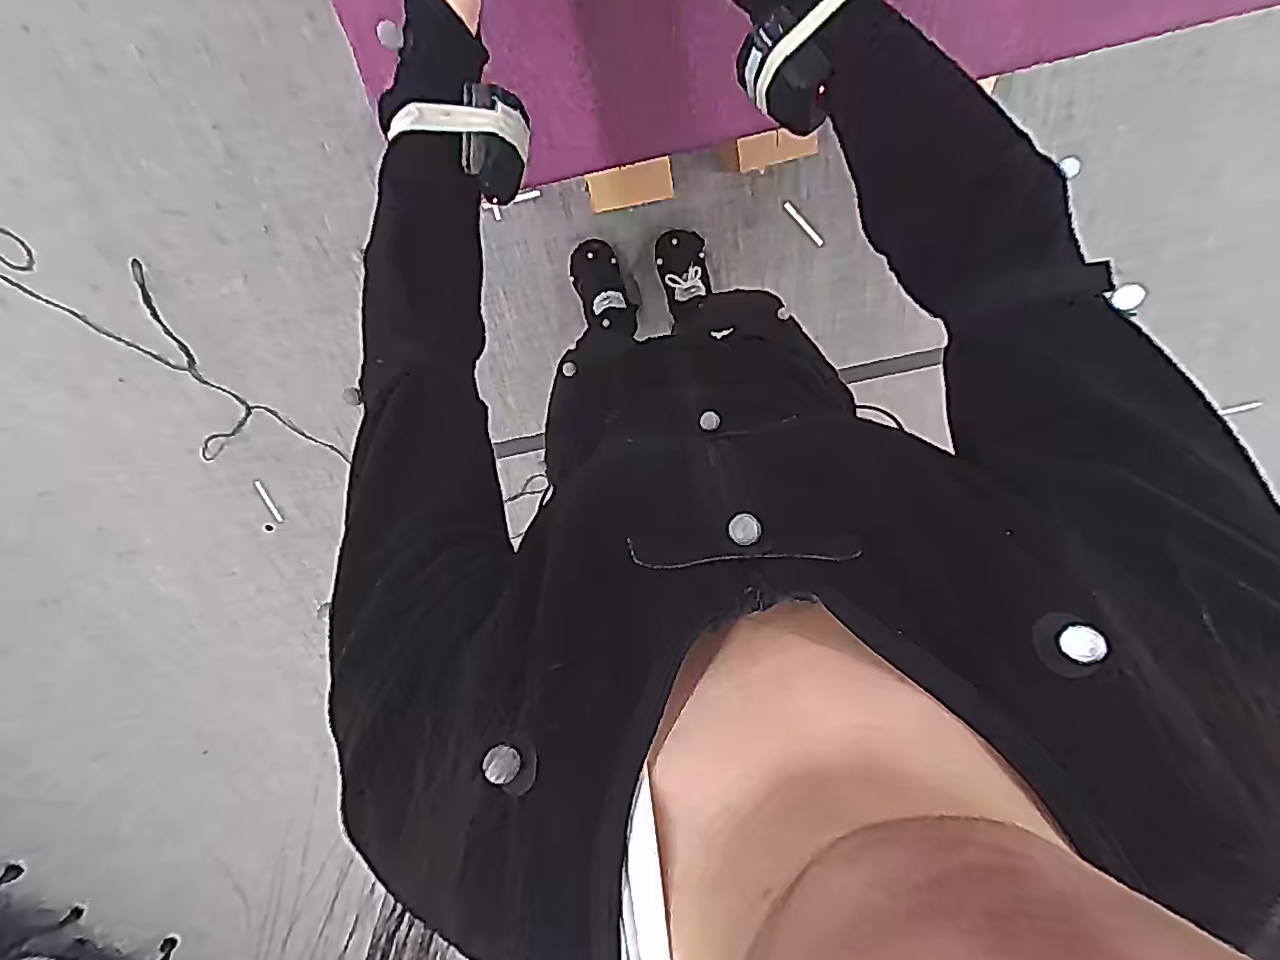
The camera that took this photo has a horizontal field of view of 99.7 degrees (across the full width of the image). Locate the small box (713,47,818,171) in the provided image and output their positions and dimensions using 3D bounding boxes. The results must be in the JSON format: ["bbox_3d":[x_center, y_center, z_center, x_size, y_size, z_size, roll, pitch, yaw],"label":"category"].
[{"bbox_3d":[0.258,-0.764,1.131,0.168,0.176,0.179,-14,120,2],"label":"small box"}]
